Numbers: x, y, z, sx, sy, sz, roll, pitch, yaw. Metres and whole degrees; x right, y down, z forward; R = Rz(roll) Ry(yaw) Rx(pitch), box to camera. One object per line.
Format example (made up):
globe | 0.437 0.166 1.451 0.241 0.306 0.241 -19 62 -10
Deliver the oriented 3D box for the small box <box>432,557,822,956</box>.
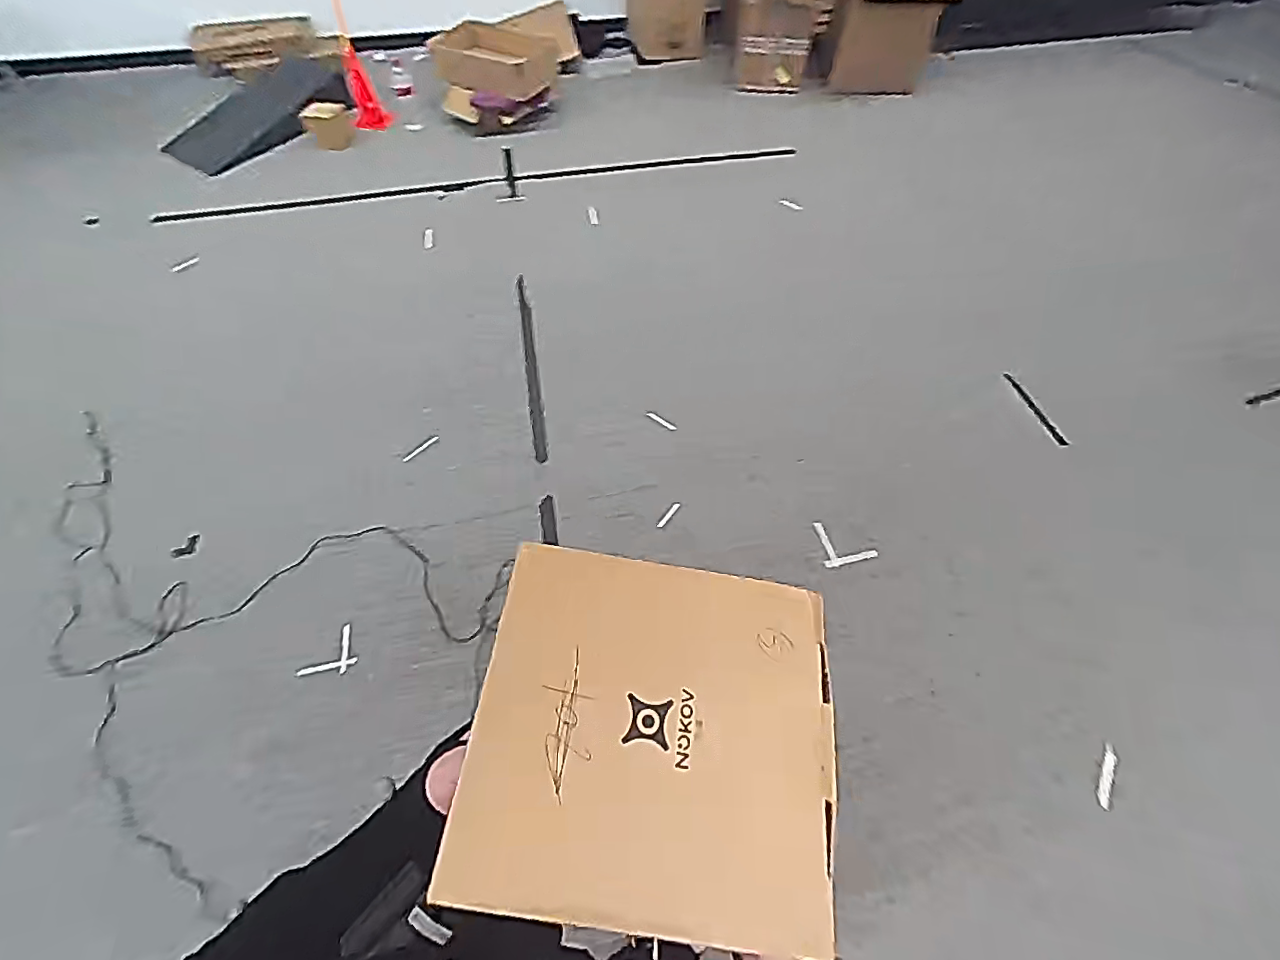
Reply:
small box | -0.003 0.167 0.344 0.179 0.176 0.168 8 59 -1
